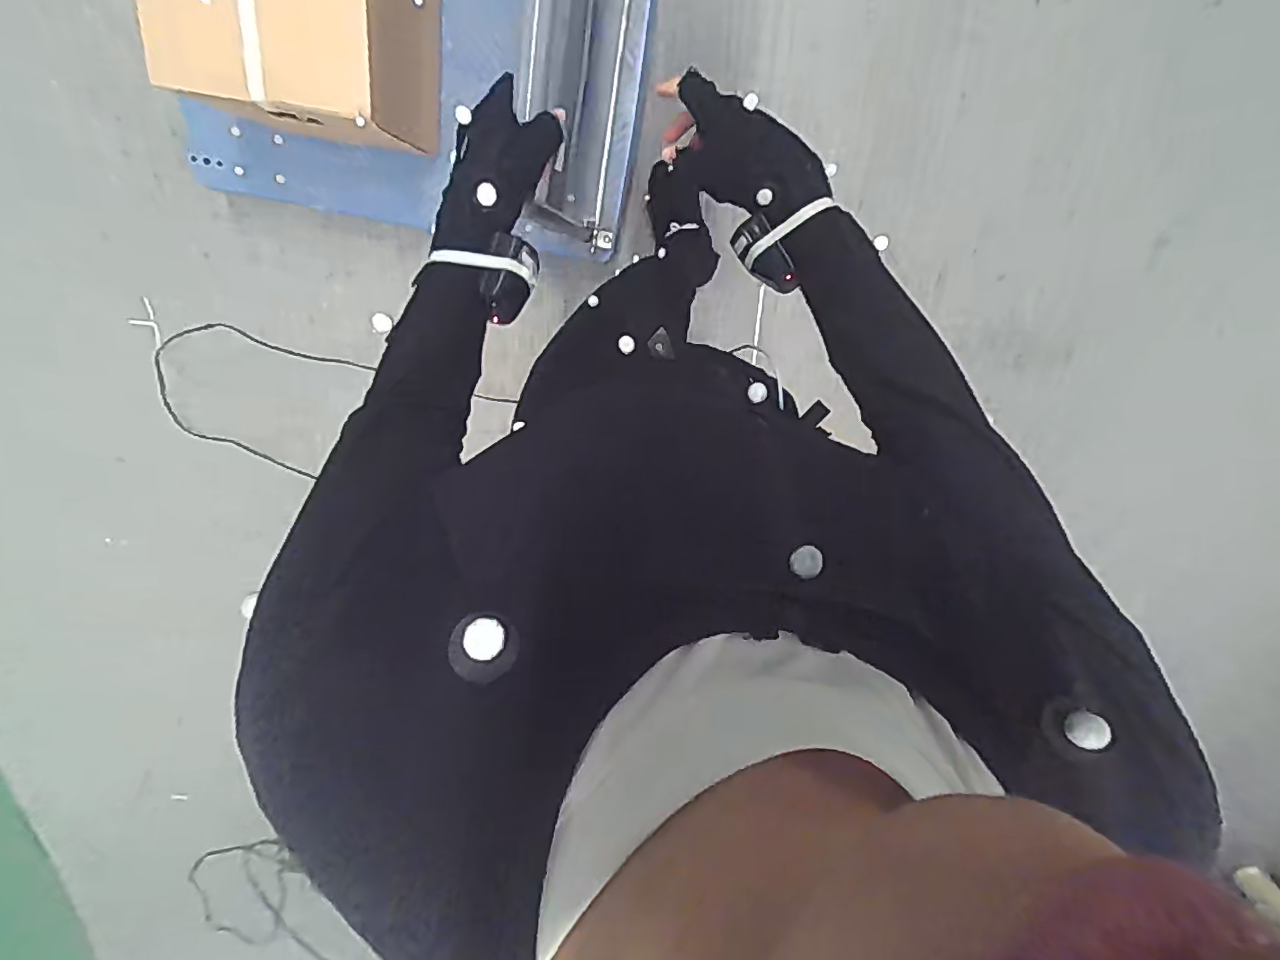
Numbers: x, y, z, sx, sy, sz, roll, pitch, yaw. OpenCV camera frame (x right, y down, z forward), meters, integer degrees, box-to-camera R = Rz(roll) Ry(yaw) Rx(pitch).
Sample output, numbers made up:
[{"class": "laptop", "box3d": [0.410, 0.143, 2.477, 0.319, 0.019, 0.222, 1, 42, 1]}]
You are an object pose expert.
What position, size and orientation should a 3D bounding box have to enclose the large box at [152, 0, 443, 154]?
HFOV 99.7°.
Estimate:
[{"class": "large box", "box3d": [-0.513, -0.791, 0.856, 0.320, 0.320, 0.408, 8, 112, -2]}]
